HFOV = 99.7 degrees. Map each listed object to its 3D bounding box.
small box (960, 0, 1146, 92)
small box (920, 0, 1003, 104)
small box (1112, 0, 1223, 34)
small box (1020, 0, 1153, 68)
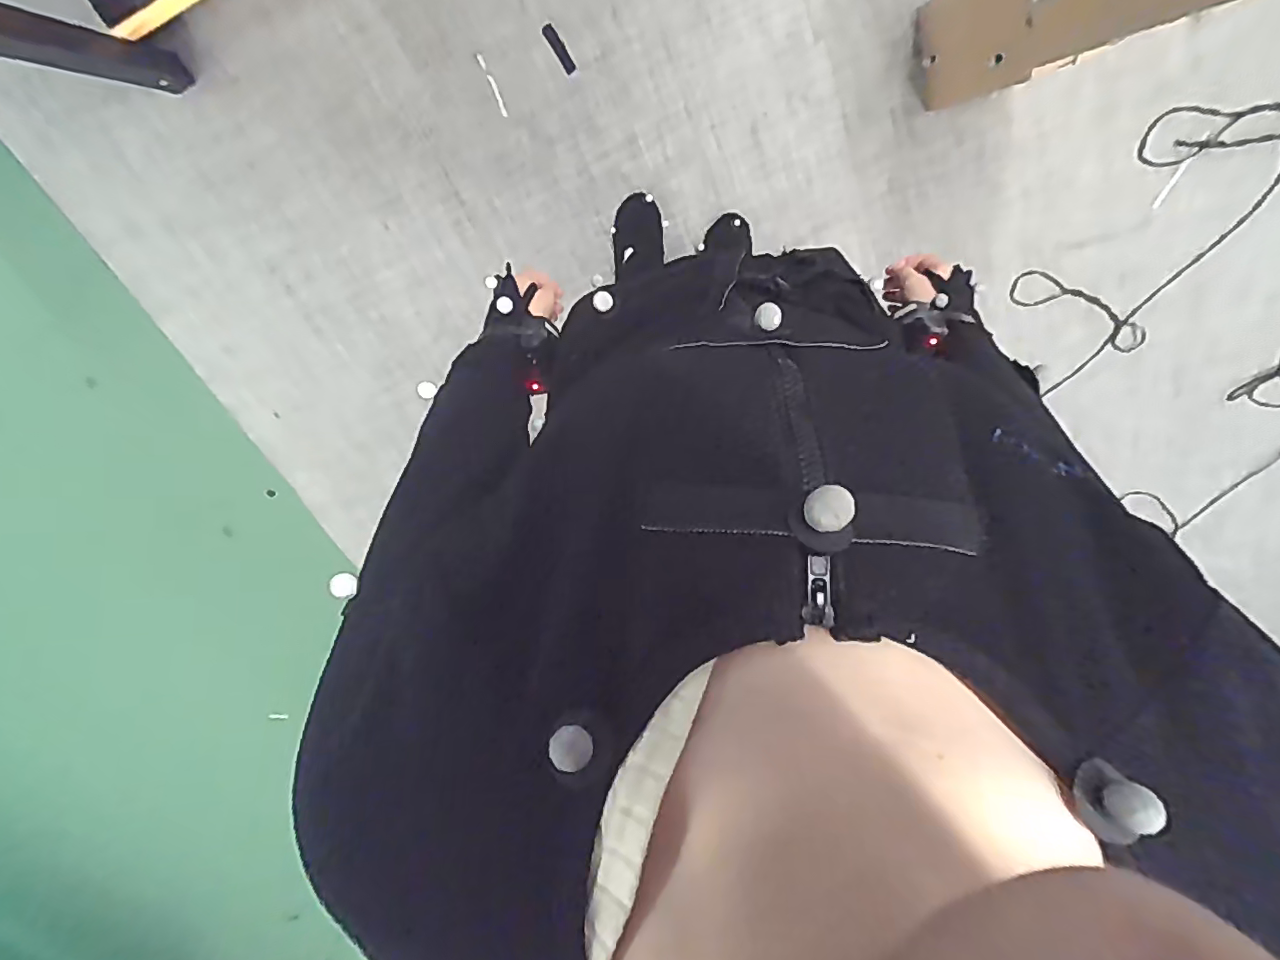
[{"bbox_3d":[0.601,-0.705,0.794,0.168,0.176,0.179,-21,114,11],"label":"small box"},{"bbox_3d":[0.611,-0.780,0.937,0.168,0.176,0.179,-18,117,10],"label":"small box"},{"bbox_3d":[0.583,-0.561,0.498,0.179,0.176,0.168,-21,116,11],"label":"small box"},{"bbox_3d":[0.594,-0.635,0.645,0.179,0.176,0.168,-19,115,11],"label":"small box"}]
